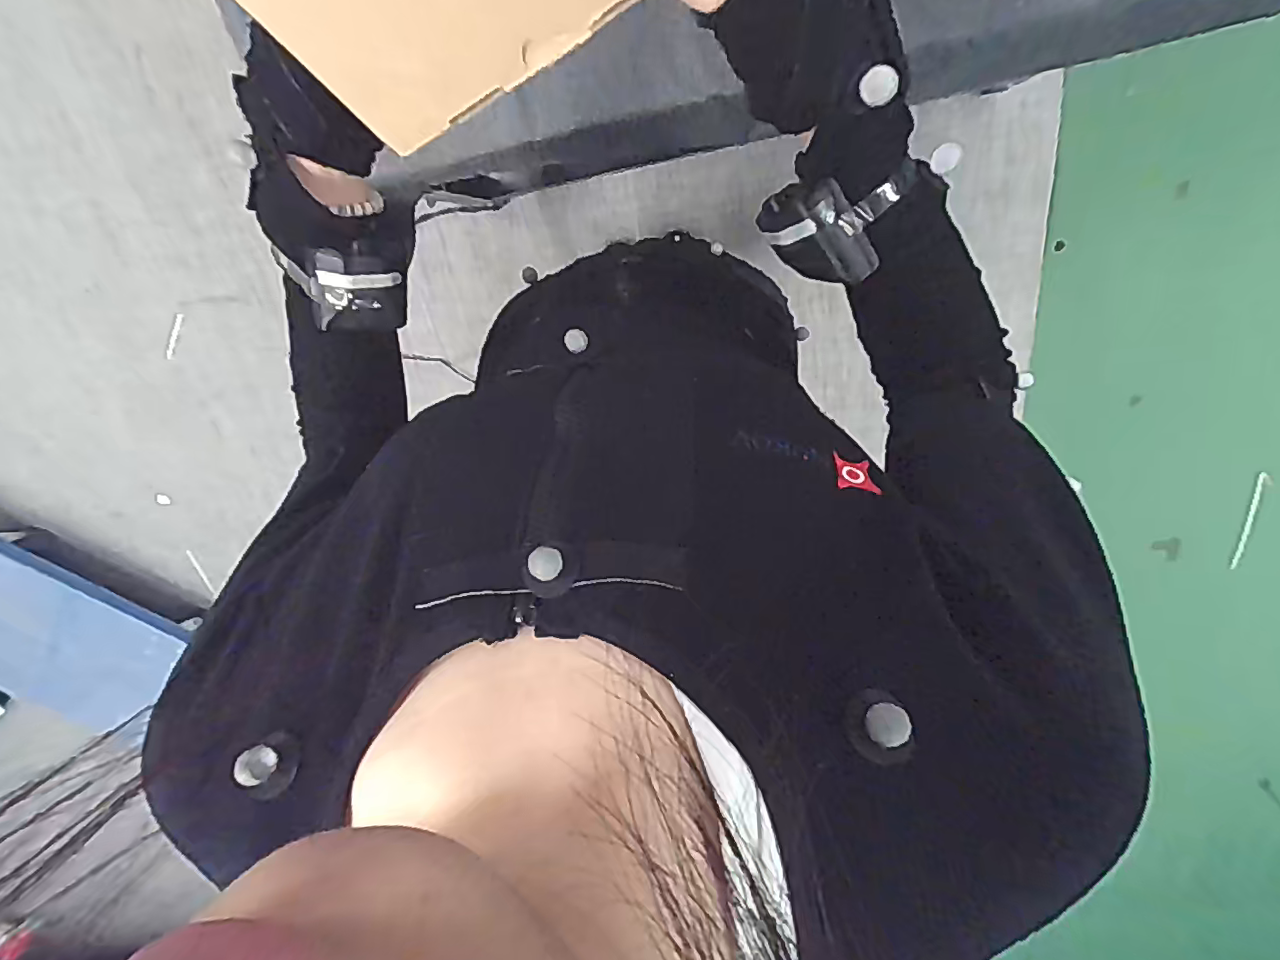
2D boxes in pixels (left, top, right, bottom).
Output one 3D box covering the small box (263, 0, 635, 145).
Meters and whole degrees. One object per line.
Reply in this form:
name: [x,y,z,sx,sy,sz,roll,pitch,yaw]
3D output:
small box: [-0.083,-0.277,0.184,0.168,0.176,0.179,-18,157,21]
